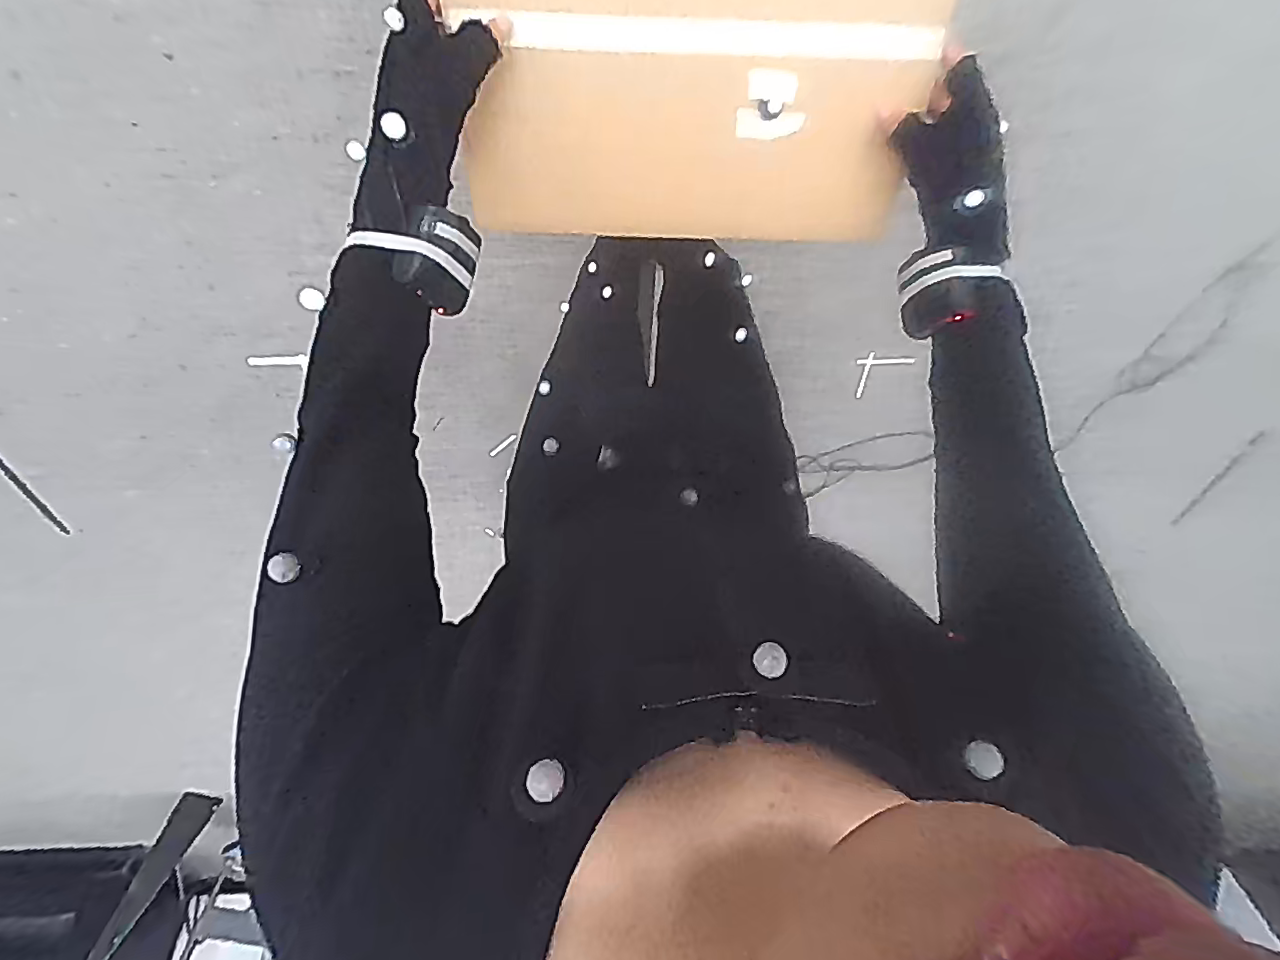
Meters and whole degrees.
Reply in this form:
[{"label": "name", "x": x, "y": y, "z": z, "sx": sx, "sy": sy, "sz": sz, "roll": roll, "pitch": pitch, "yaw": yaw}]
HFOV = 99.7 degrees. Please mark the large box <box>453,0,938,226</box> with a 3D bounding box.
[{"label": "large box", "x": 0.039, "y": -0.471, "z": 0.562, "sx": 0.408, "sy": 0.320, "sz": 0.320, "roll": -1, "pitch": 131, "yaw": -3}]
